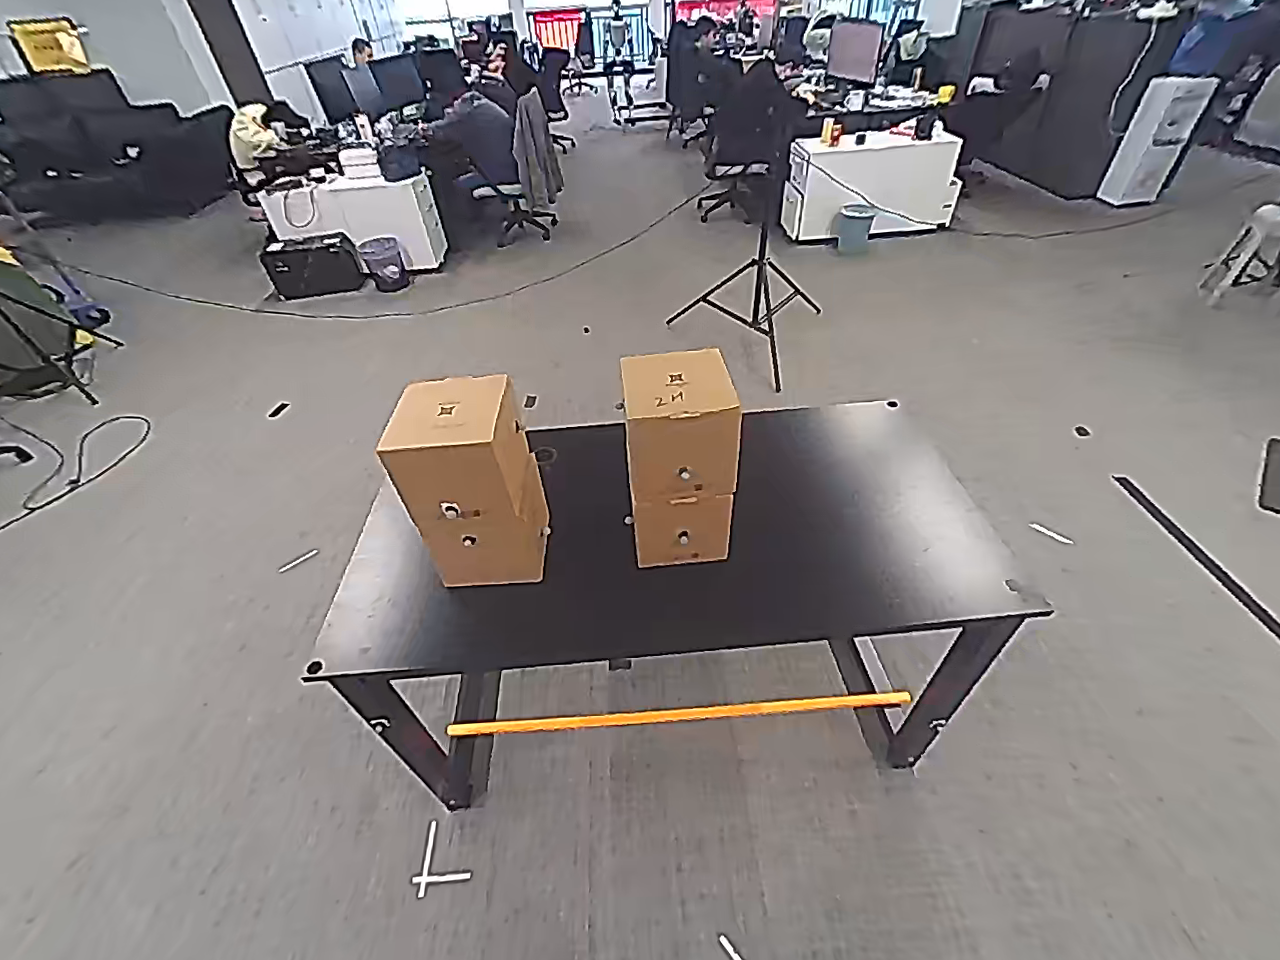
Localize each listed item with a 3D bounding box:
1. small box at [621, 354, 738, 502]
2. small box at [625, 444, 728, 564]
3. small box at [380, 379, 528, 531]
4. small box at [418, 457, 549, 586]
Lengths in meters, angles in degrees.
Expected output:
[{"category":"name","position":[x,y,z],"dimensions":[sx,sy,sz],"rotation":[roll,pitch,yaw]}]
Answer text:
[{"category":"small box","position":[0.058,-0.086,0.888],"dimensions":[0.168,0.176,0.179],"rotation":[-6,42,-1]},{"category":"small box","position":[0.064,0.040,0.996],"dimensions":[0.168,0.176,0.179],"rotation":[-6,43,-1]},{"category":"small box","position":[-0.283,-0.040,0.869],"dimensions":[0.168,0.176,0.179],"rotation":[-6,43,1]},{"category":"small box","position":[-0.271,0.078,0.980],"dimensions":[0.179,0.176,0.168],"rotation":[-3,42,0]}]
